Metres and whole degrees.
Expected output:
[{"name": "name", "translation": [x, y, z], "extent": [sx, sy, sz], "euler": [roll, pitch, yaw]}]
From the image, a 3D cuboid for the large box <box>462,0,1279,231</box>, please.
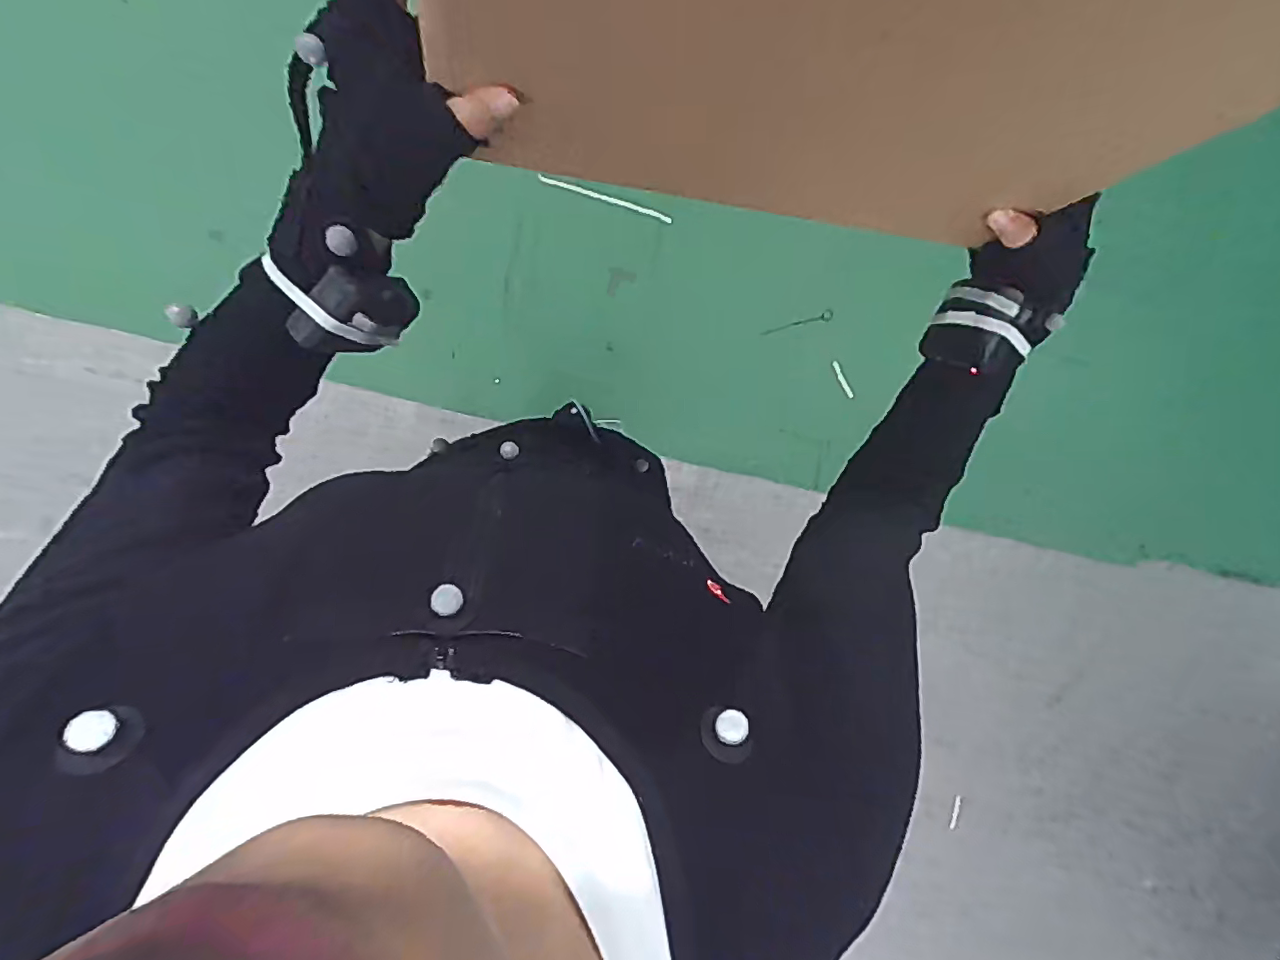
[{"name": "large box", "translation": [0.132, -0.342, 0.228], "extent": [0.408, 0.320, 0.320], "euler": [-1, 91, -19]}]
